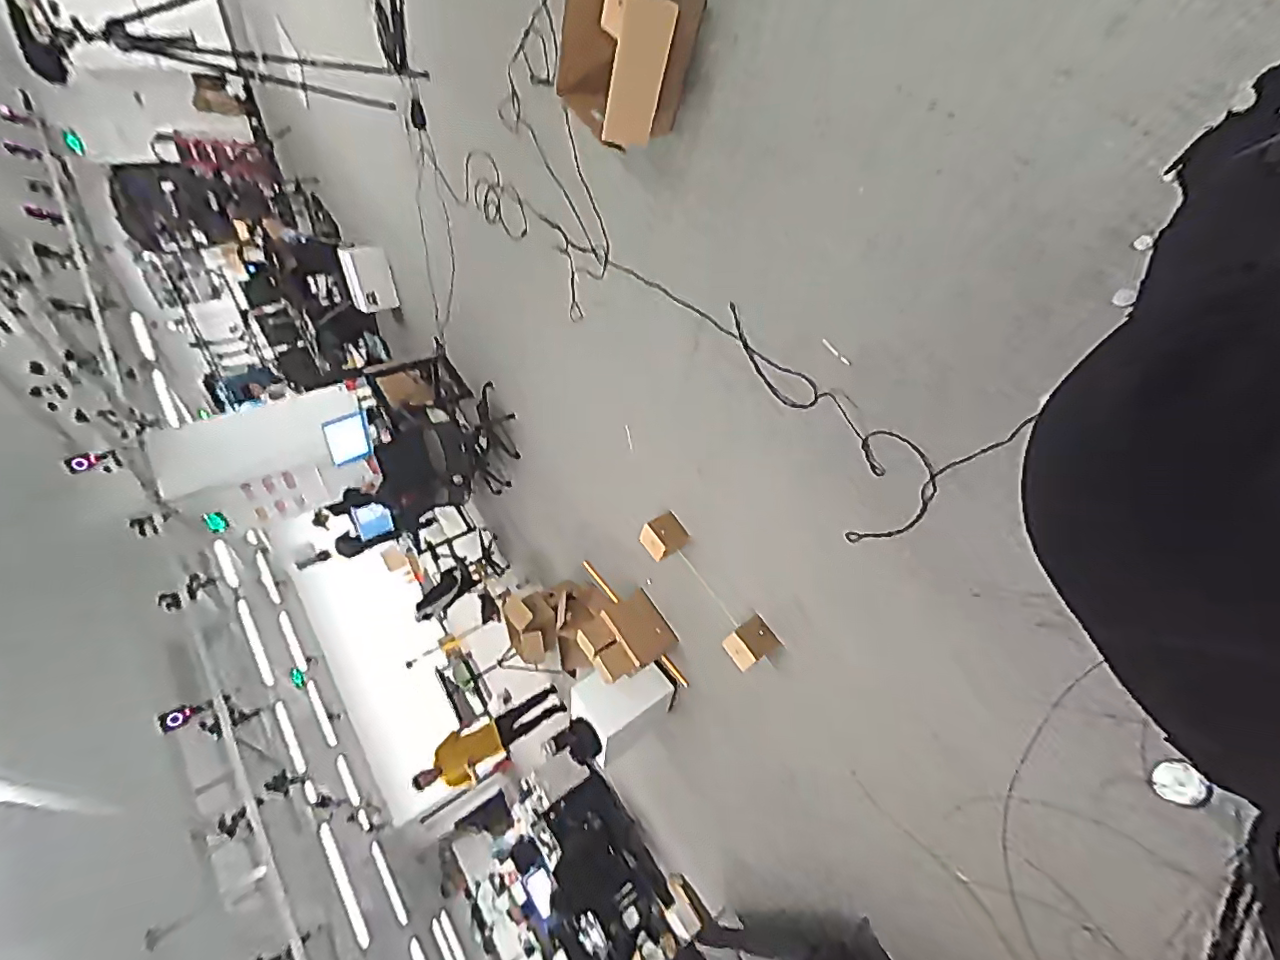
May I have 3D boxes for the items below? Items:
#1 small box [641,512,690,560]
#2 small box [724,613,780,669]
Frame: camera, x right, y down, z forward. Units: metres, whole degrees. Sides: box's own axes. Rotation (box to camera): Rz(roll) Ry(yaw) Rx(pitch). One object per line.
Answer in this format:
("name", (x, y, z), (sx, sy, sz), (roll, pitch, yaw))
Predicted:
("small box", (0.137, 0.290, 2.874), (0.179, 0.176, 0.168), (50, 147, 22))
("small box", (0.541, 0.773, 2.602), (0.168, 0.176, 0.179), (51, 147, 22))
